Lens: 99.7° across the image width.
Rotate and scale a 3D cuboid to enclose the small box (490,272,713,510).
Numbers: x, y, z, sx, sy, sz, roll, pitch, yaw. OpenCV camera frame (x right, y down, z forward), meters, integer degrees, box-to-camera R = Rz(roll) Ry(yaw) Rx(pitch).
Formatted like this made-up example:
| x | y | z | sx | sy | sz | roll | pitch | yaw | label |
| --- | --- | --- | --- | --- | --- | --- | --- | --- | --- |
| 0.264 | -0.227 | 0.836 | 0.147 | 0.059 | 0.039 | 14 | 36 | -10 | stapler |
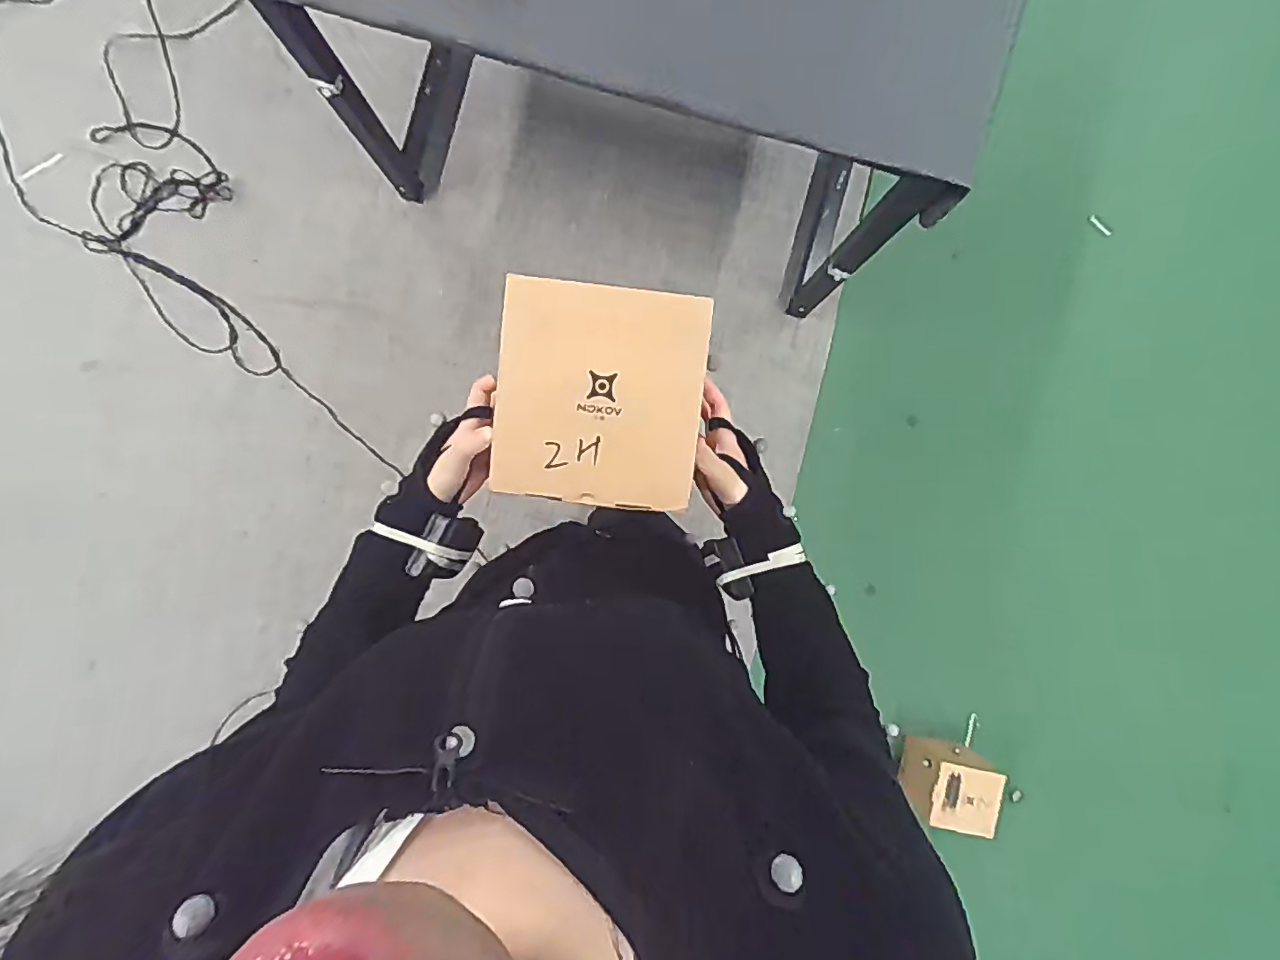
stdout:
| x | y | z | sx | sy | sz | roll | pitch | yaw | label |
| --- | --- | --- | --- | --- | --- | --- | --- | --- | --- |
| -0.034 | -0.077 | 0.515 | 0.168 | 0.176 | 0.179 | 7 | 96 | -1 | small box |
